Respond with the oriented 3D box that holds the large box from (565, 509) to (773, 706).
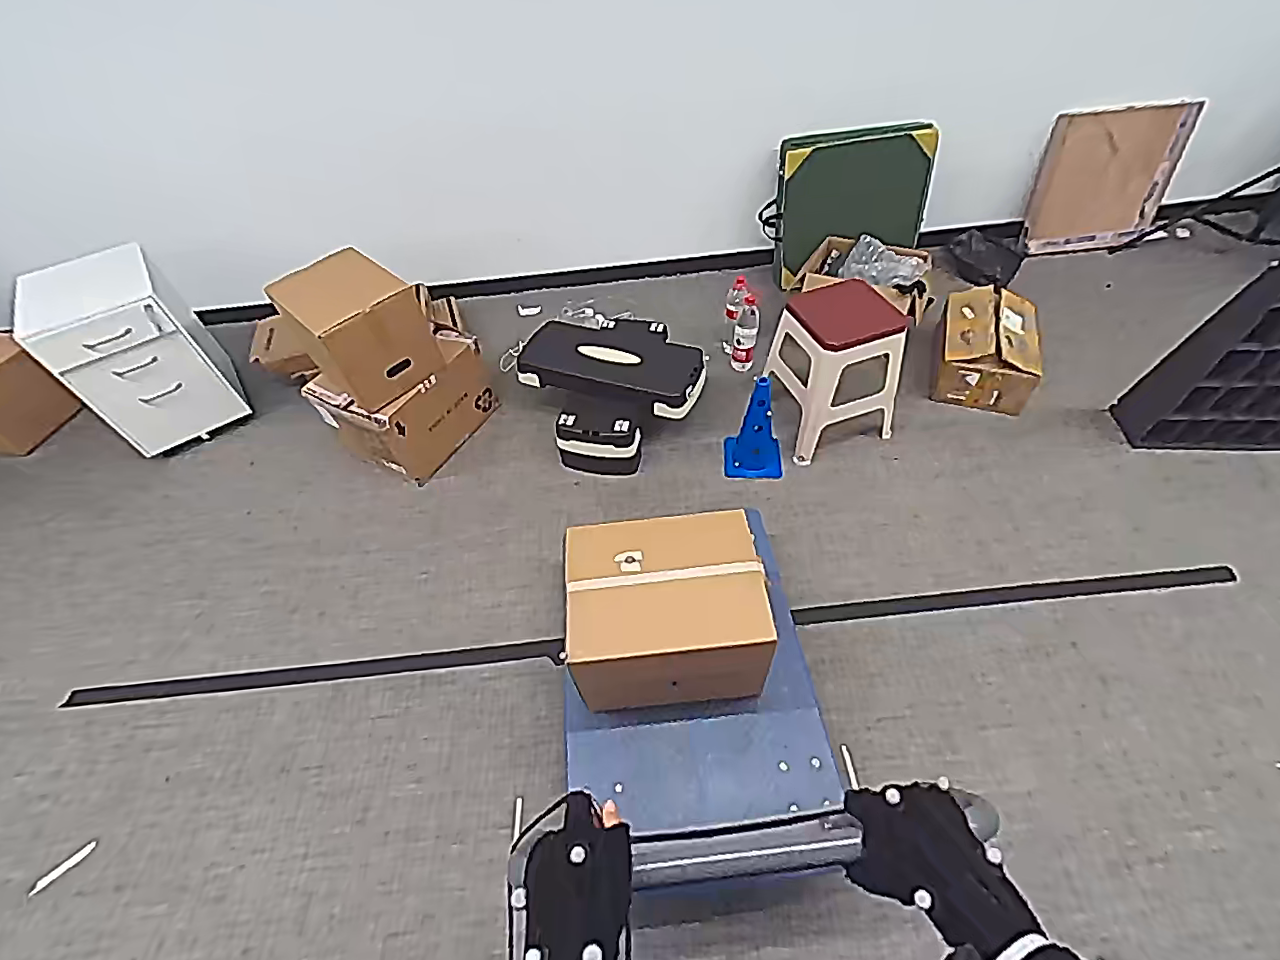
[{"bbox_3d":[0.057,0.298,1.236,0.408,0.320,0.320,-7,50,0],"label":"large box"}]
